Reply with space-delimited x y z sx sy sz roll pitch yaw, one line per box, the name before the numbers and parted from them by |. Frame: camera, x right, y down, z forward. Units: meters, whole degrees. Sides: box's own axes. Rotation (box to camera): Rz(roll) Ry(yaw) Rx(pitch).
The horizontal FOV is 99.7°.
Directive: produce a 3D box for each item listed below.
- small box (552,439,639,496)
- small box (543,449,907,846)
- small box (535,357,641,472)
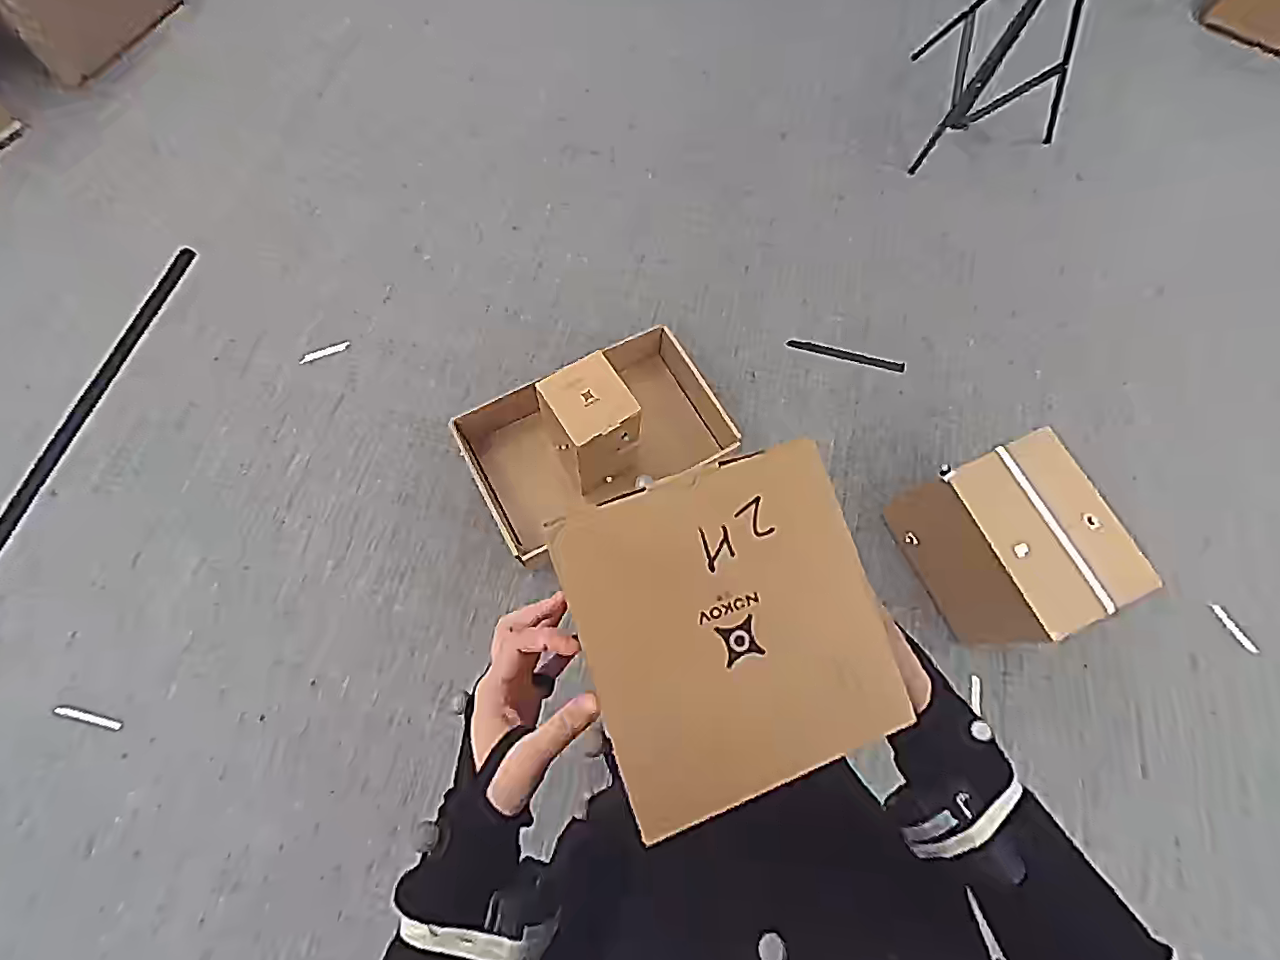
small box | -0.120 -0.085 1.373 0.168 0.176 0.179 -28 76 -12
small box | 0.038 0.095 0.377 0.168 0.176 0.179 -18 85 -12
small box | -0.115 -0.137 1.219 0.168 0.176 0.179 -32 75 -15
